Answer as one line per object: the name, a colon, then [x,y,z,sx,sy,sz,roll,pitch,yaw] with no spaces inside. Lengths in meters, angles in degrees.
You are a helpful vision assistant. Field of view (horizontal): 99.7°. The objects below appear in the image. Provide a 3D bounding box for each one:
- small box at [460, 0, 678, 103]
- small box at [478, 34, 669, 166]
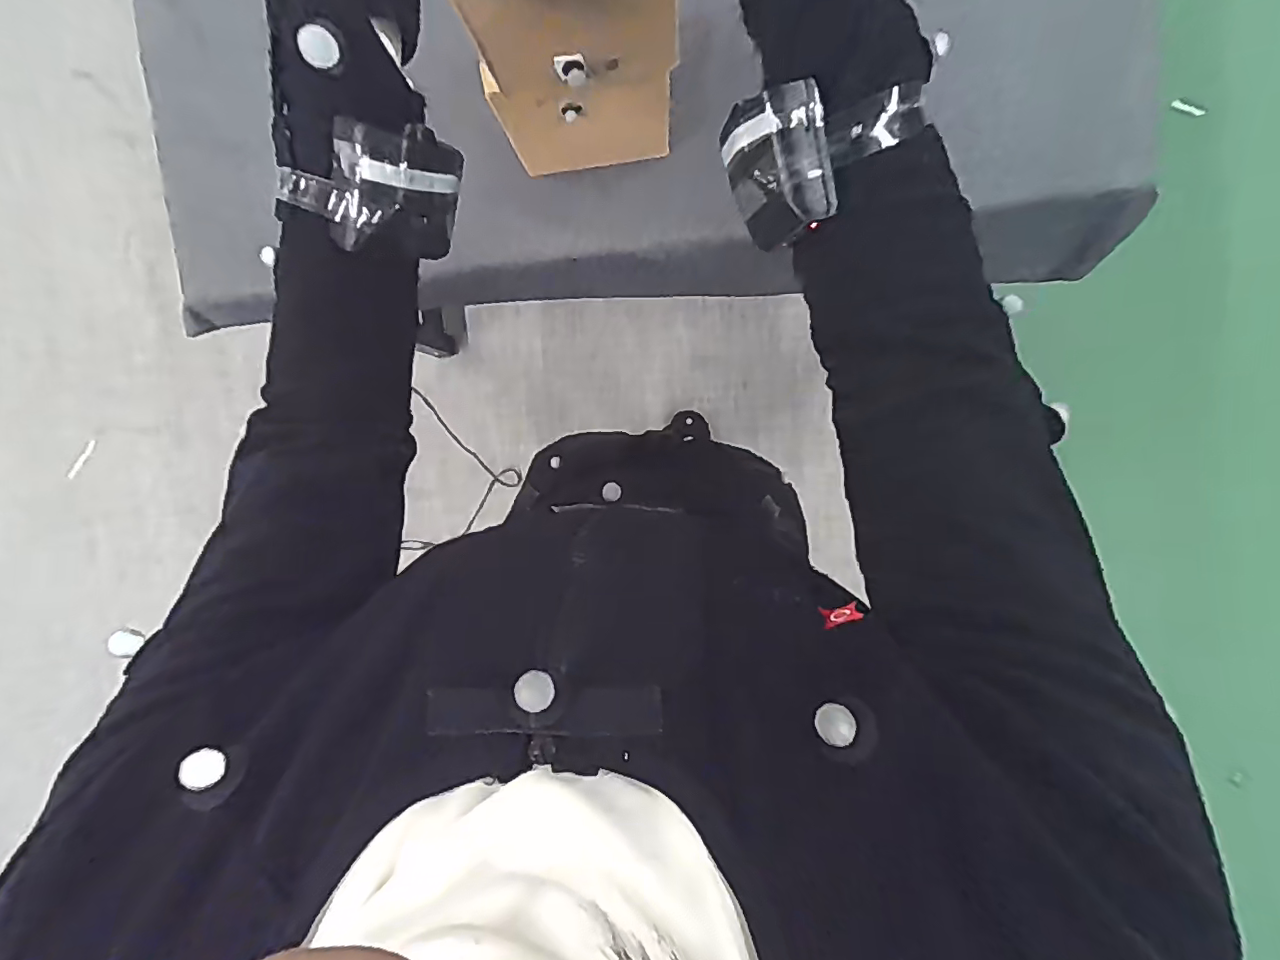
small box: [-0.066,-0.443,0.417,0.168,0.176,0.179,-10,96,7]
small box: [-0.064,-0.464,0.578,0.179,0.176,0.168,-5,95,4]
